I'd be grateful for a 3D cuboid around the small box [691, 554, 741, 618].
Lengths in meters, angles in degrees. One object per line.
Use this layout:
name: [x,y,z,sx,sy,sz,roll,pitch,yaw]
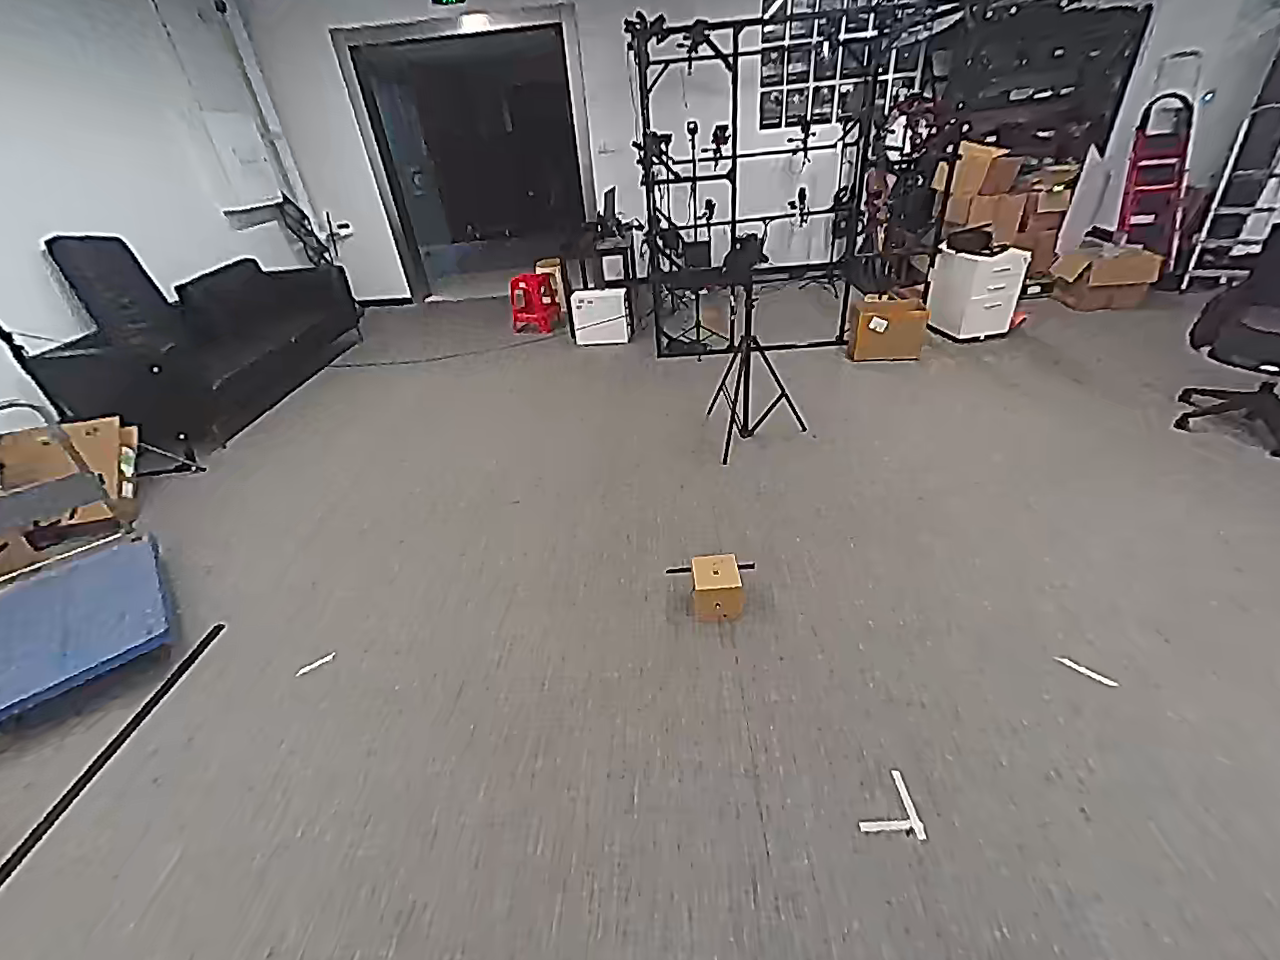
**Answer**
small box: [0.285,0.401,2.020,0.168,0.176,0.179,-5,33,2]
